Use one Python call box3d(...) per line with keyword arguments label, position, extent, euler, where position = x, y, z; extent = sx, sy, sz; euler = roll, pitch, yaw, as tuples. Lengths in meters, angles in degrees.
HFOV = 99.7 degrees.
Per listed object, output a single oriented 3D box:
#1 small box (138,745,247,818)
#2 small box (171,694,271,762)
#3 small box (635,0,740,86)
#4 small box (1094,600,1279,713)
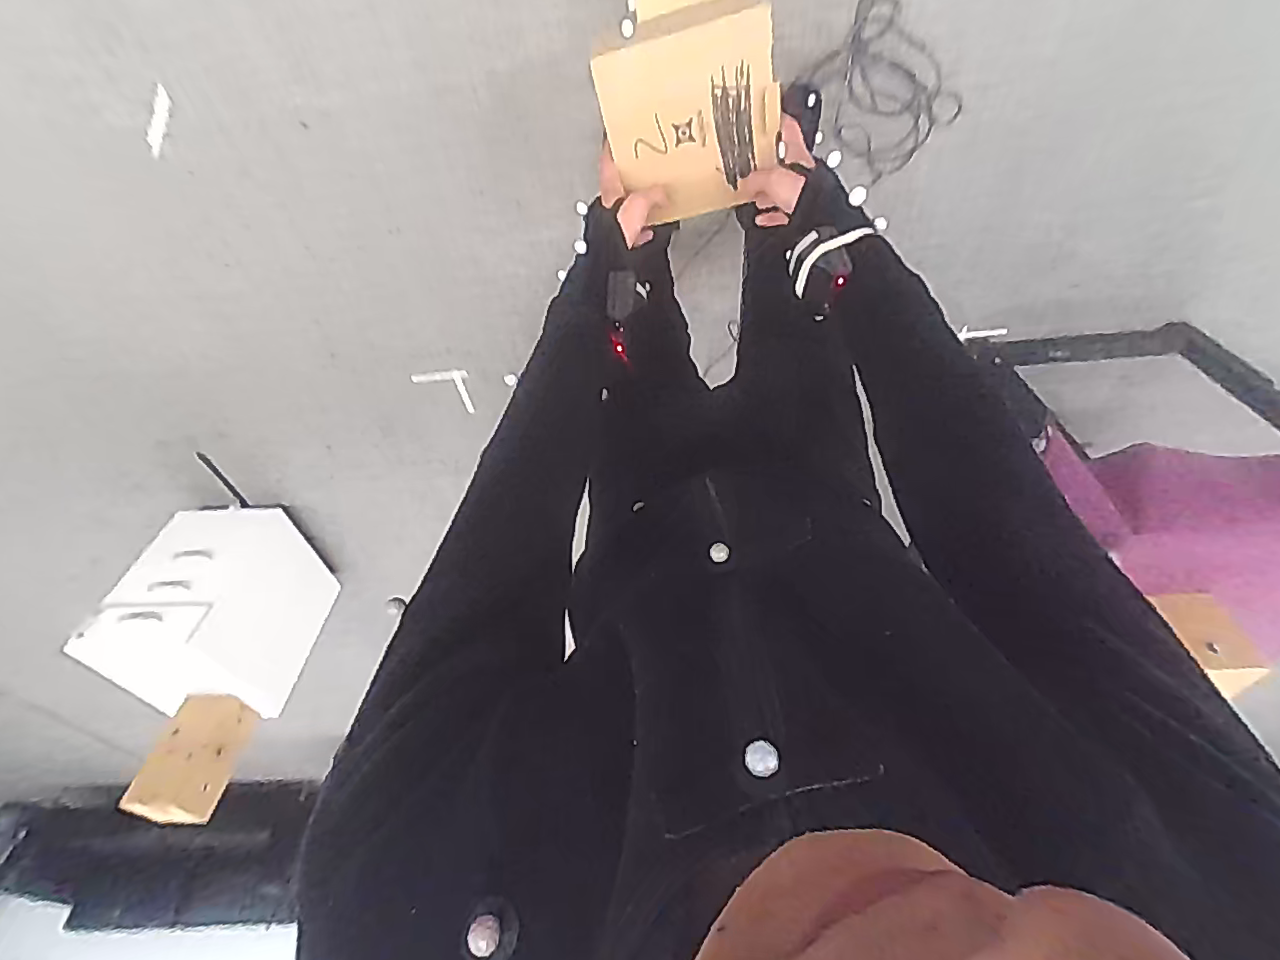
box3d(label="small box", position=(-1.419, 0.961, 1.727), extent=(0.168, 0.176, 0.179), euler=(-2, 135, 5))
box3d(label="small box", position=(-1.419, 0.845, 1.844), extent=(0.179, 0.176, 0.168), euler=(-2, 134, 5))
box3d(label="small box", position=(0.085, -0.835, 0.978), extent=(0.179, 0.176, 0.168), euler=(-4, 134, 5))
box3d(label="small box", position=(1.095, 0.356, 1.099), extent=(0.179, 0.176, 0.168), euler=(-3, 134, 4))
